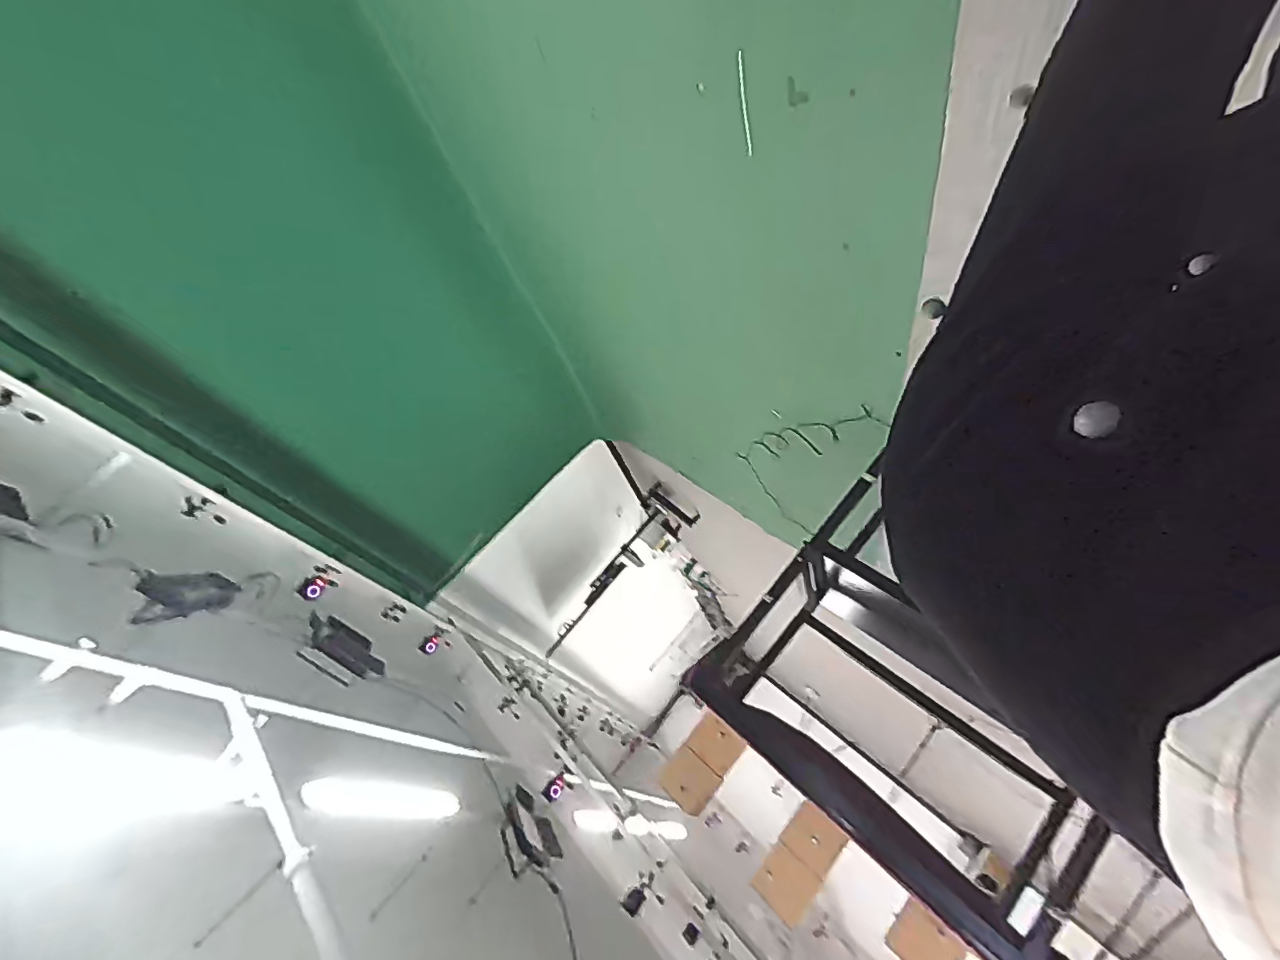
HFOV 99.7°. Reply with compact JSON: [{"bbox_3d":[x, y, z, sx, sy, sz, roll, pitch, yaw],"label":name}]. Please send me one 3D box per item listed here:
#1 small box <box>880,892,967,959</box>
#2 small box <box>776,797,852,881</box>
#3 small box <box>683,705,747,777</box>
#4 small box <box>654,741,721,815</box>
[{"bbox_3d":[0.827,1.352,1.584,0.168,0.176,0.179,33,164,37],"label":"small box"},{"bbox_3d":[0.582,1.189,1.808,0.179,0.176,0.168,34,164,34],"label":"small box"},{"bbox_3d":[0.293,0.995,2.063,0.168,0.176,0.179,34,162,34],"label":"small box"},{"bbox_3d":[0.184,1.109,2.014,0.179,0.176,0.168,34,162,34],"label":"small box"}]
